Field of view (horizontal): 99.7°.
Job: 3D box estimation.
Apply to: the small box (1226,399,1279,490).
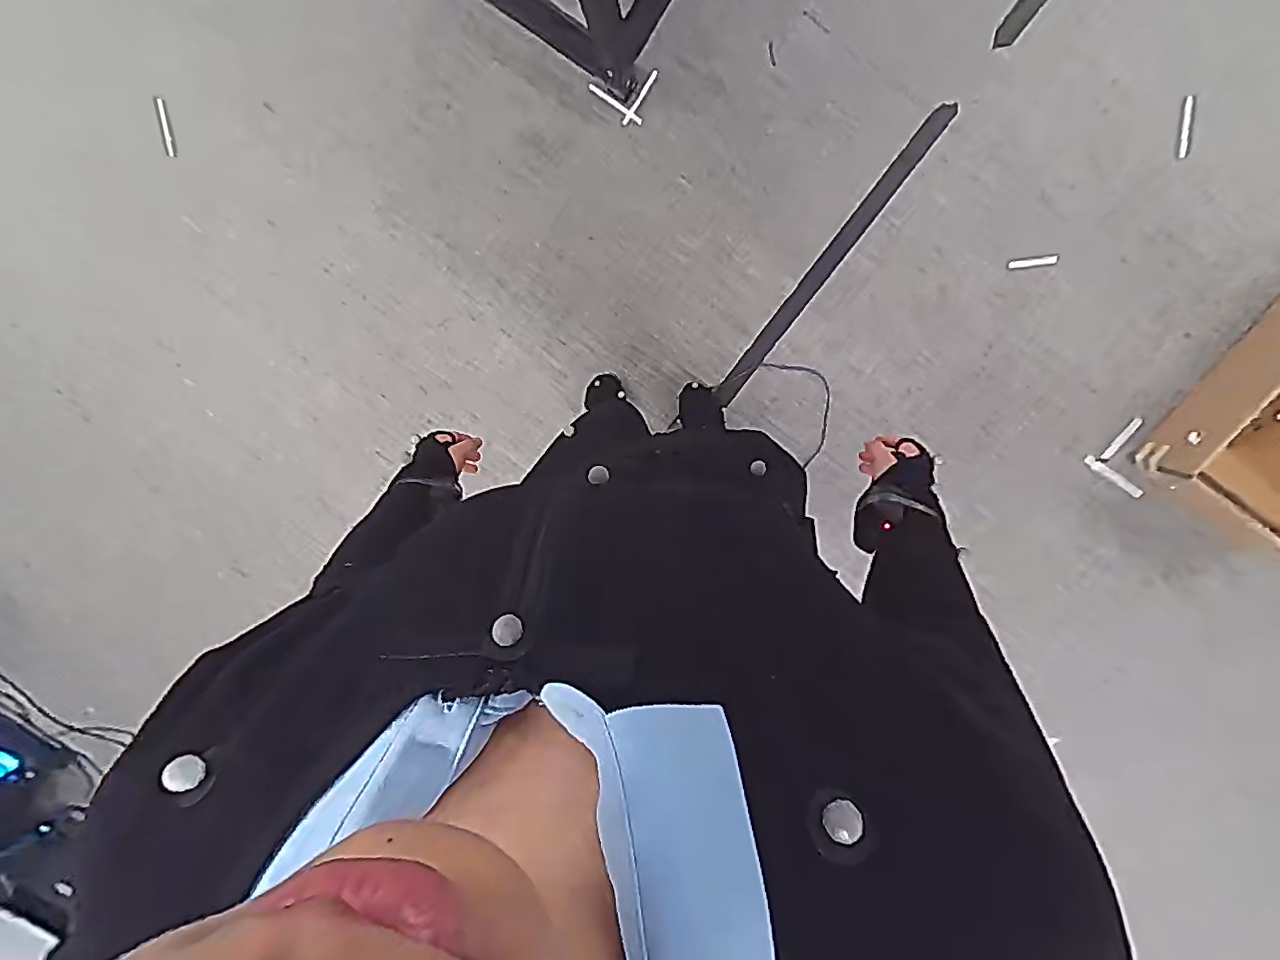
[{"bbox_3d":[1.512,-0.070,1.211,0.179,0.176,0.168,40,101,-2],"label":"small box"}]
